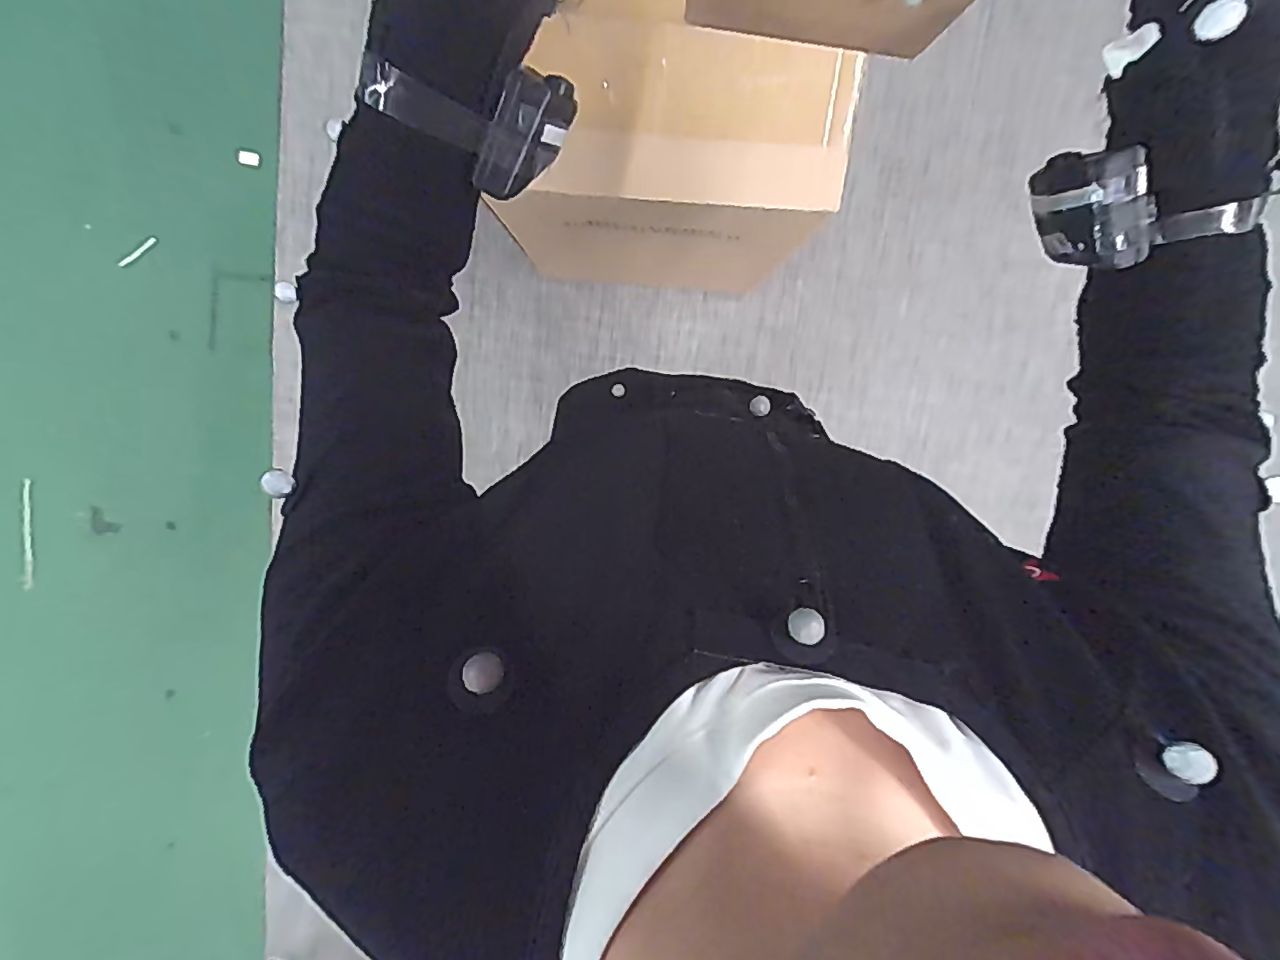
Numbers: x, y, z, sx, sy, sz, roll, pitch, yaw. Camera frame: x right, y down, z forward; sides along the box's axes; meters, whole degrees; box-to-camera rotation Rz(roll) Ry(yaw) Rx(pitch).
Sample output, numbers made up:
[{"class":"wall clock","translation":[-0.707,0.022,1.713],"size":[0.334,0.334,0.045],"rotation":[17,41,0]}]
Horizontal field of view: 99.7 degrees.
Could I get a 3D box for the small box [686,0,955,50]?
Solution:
[{"class":"small box","translation":[0.126,-0.379,0.301],"size":[0.179,0.176,0.168],"rotation":[5,104,0]}]
